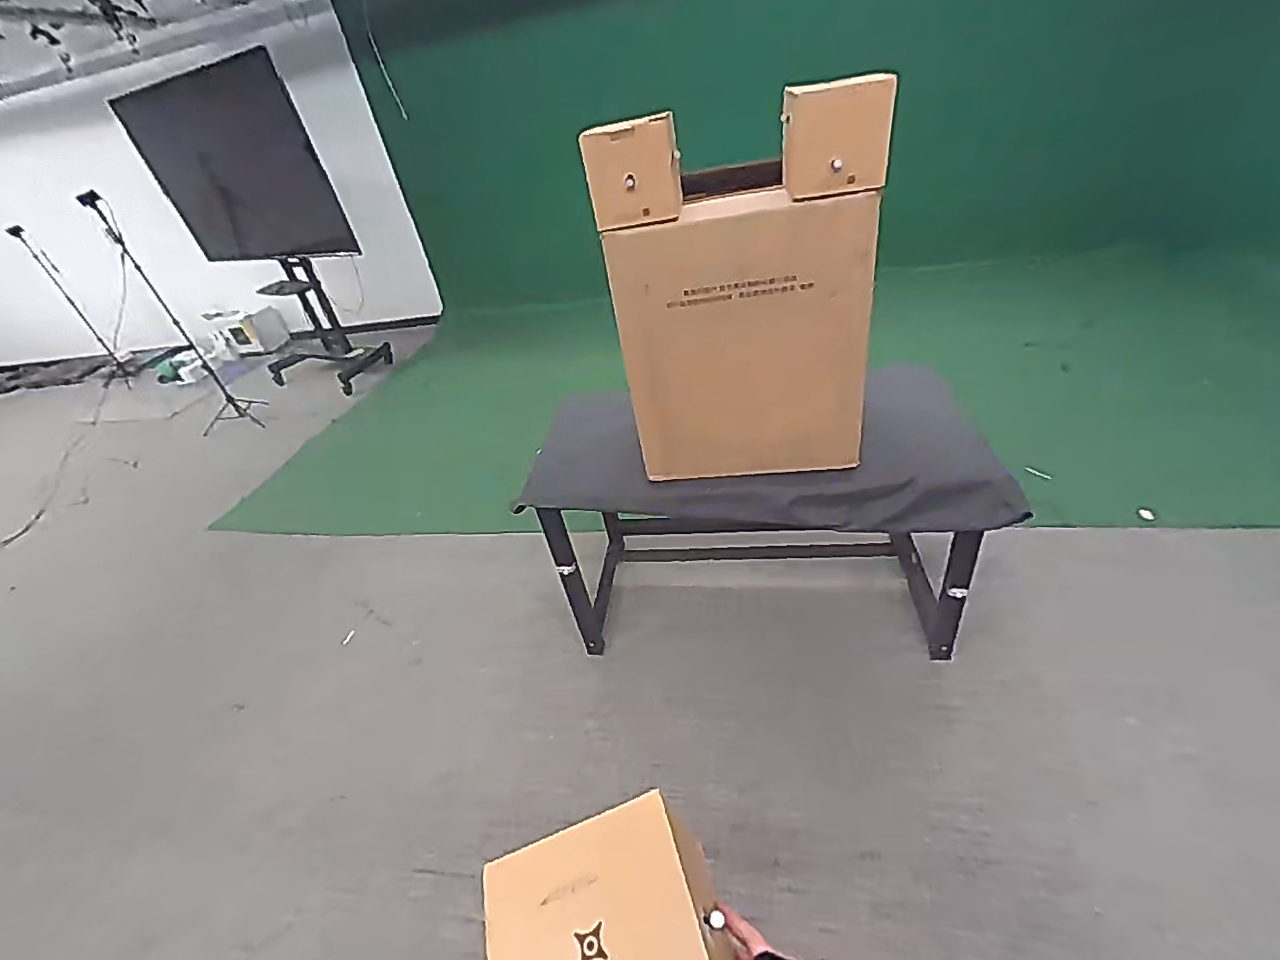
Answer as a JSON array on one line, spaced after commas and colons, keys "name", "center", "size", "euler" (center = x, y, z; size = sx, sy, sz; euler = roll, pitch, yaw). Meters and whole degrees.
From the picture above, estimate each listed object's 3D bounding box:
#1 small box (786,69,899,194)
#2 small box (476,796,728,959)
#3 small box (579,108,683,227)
[{"name": "small box", "center": [0.363, -0.646, 1.006], "size": [0.168, 0.176, 0.179], "euler": [-3, 38, 11]}, {"name": "small box", "center": [-0.019, 0.408, 0.448], "size": [0.168, 0.176, 0.179], "euler": [-23, 39, -2]}, {"name": "small box", "center": [-0.008, -0.619, 1.082], "size": [0.168, 0.176, 0.179], "euler": [-4, 37, 12]}]
